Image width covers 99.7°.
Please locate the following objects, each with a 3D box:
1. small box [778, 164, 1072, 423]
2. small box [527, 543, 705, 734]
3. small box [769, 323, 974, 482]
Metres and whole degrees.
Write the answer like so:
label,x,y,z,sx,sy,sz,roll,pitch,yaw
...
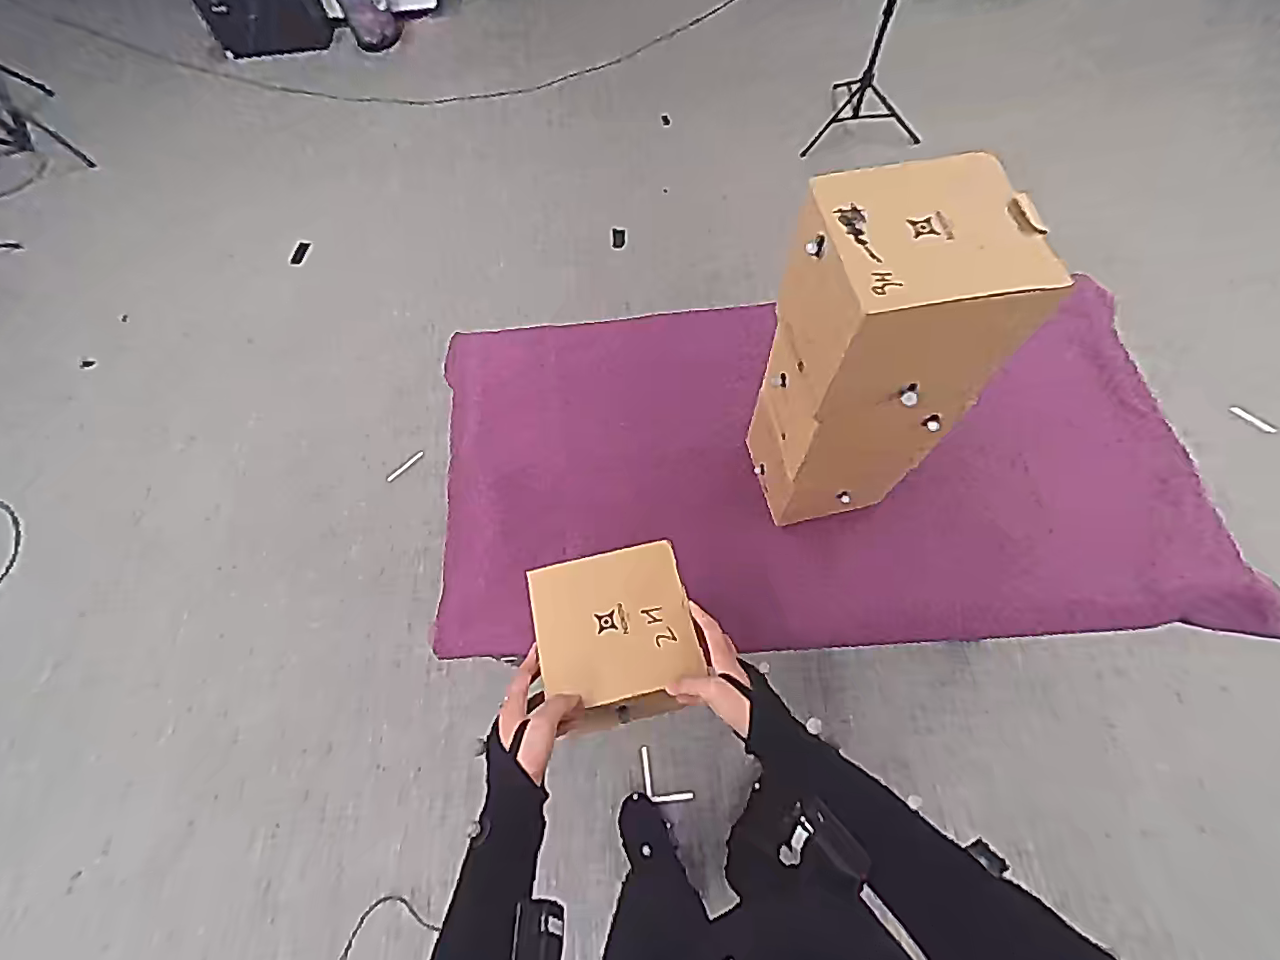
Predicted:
label,x,y,z,sx,sy,sz,roll,pitch,yaw
small box,0.254,-0.174,0.535,0.179,0.176,0.168,-7,64,-2
small box,-0.029,0.201,0.668,0.179,0.176,0.168,-12,59,-7
small box,0.270,-0.109,0.685,0.179,0.176,0.168,-8,65,-1
